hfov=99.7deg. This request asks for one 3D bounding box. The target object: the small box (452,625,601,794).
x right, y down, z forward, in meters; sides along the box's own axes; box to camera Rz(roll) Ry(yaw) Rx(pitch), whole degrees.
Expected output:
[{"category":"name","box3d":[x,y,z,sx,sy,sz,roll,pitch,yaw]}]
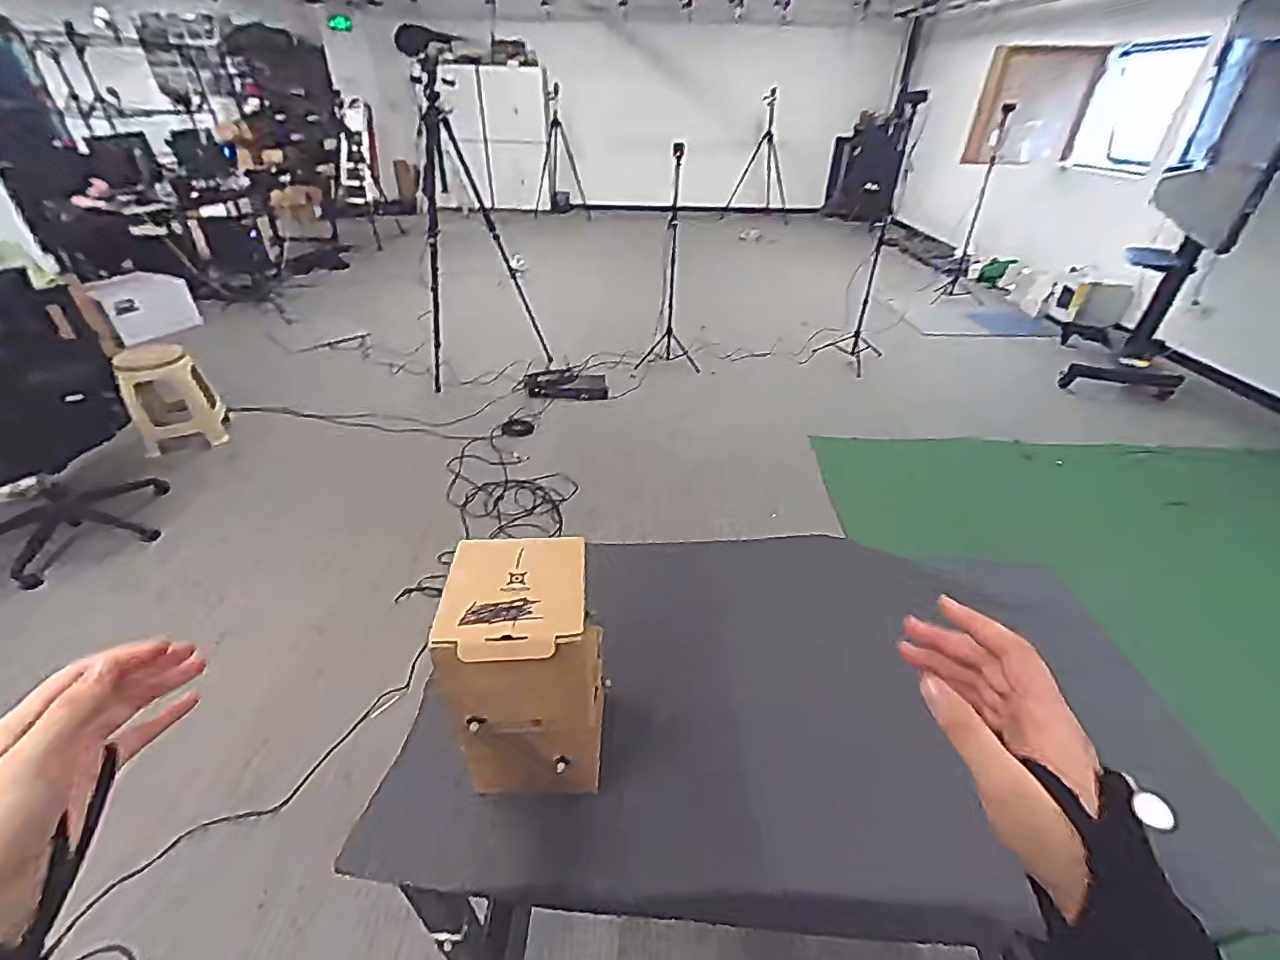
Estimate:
[{"category":"small box","box3d":[-0.148,0.328,0.779,0.179,0.176,0.168,0,33,0]}]

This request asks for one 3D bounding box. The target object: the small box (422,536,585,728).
[{"category":"small box","box3d":[-0.156,0.193,0.685,0.168,0.176,0.179,-2,32,-5]}]
